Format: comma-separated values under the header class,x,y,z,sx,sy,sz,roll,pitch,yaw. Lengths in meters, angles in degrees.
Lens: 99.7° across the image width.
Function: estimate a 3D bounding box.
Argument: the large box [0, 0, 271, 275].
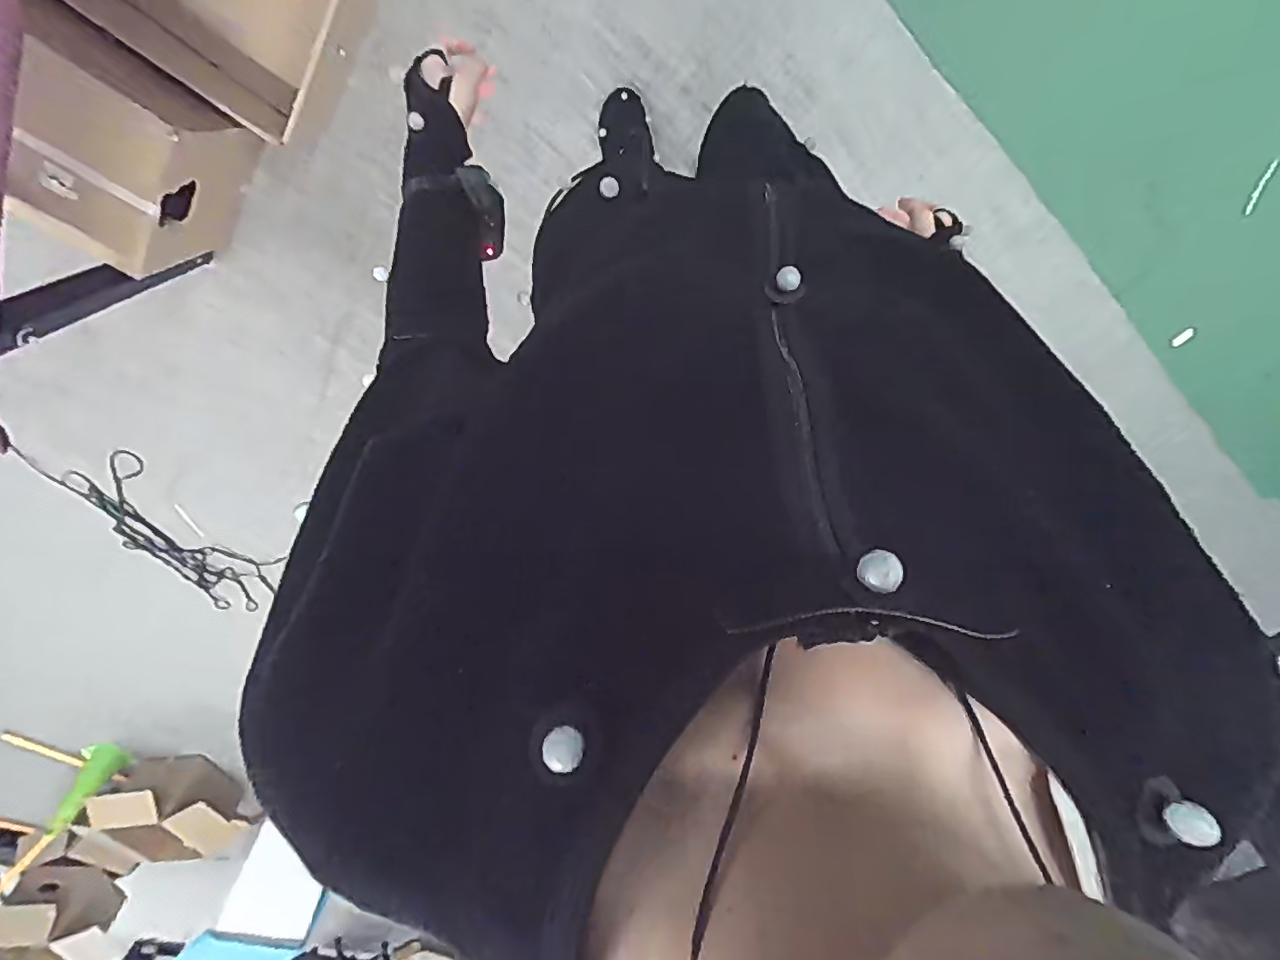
class,x,y,z,sx,sy,sz,roll,pitch,yaw
large box,-1.018,-0.669,1.016,0.408,0.320,0.320,31,119,-23
